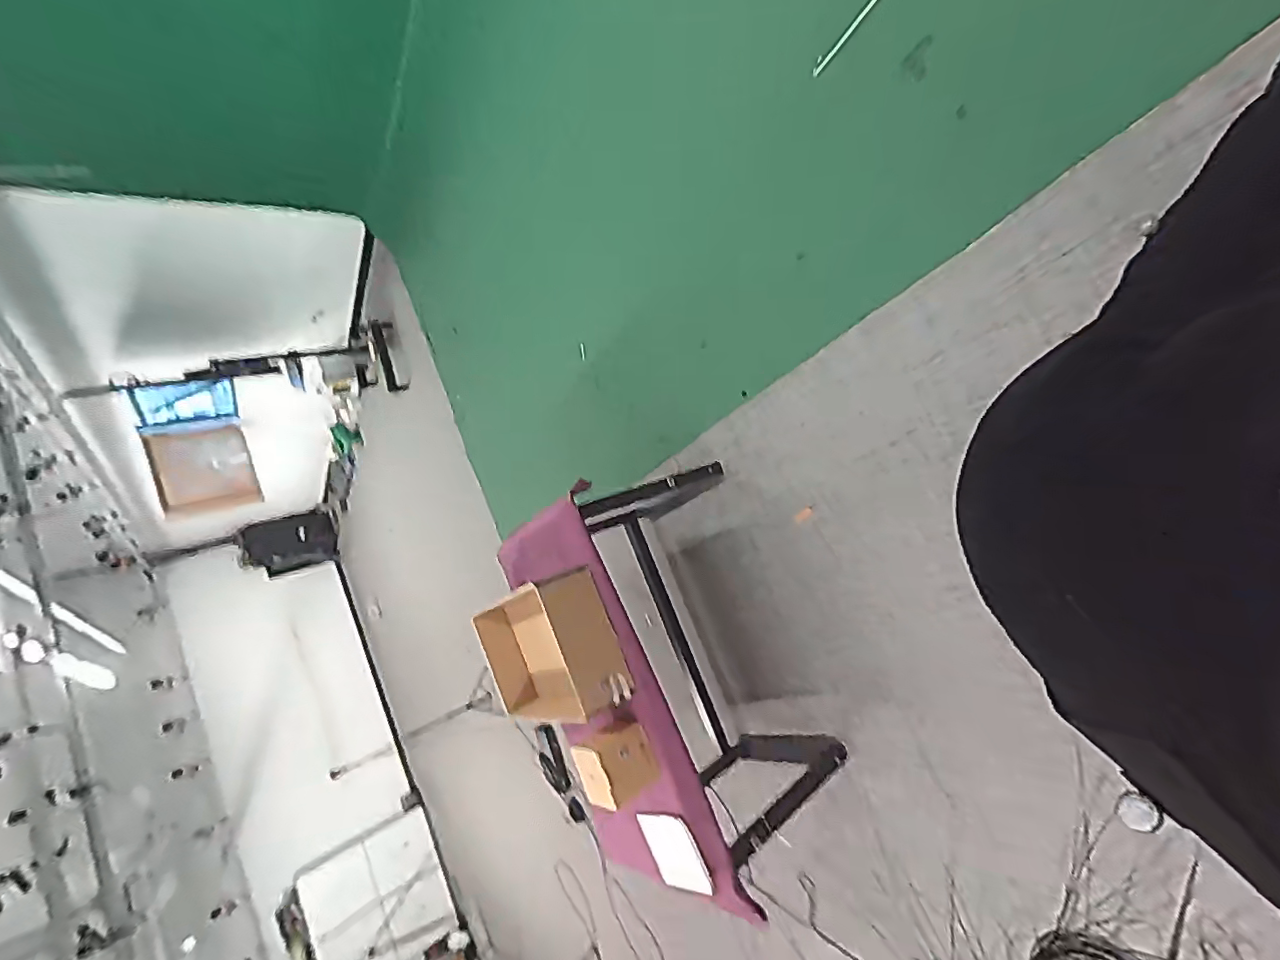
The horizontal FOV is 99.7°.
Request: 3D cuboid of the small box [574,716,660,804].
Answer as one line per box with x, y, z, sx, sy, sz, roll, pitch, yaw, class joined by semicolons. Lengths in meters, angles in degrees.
-0.060;0.811;1.585;0.179;0.176;0.168;-33;77;53;small box
